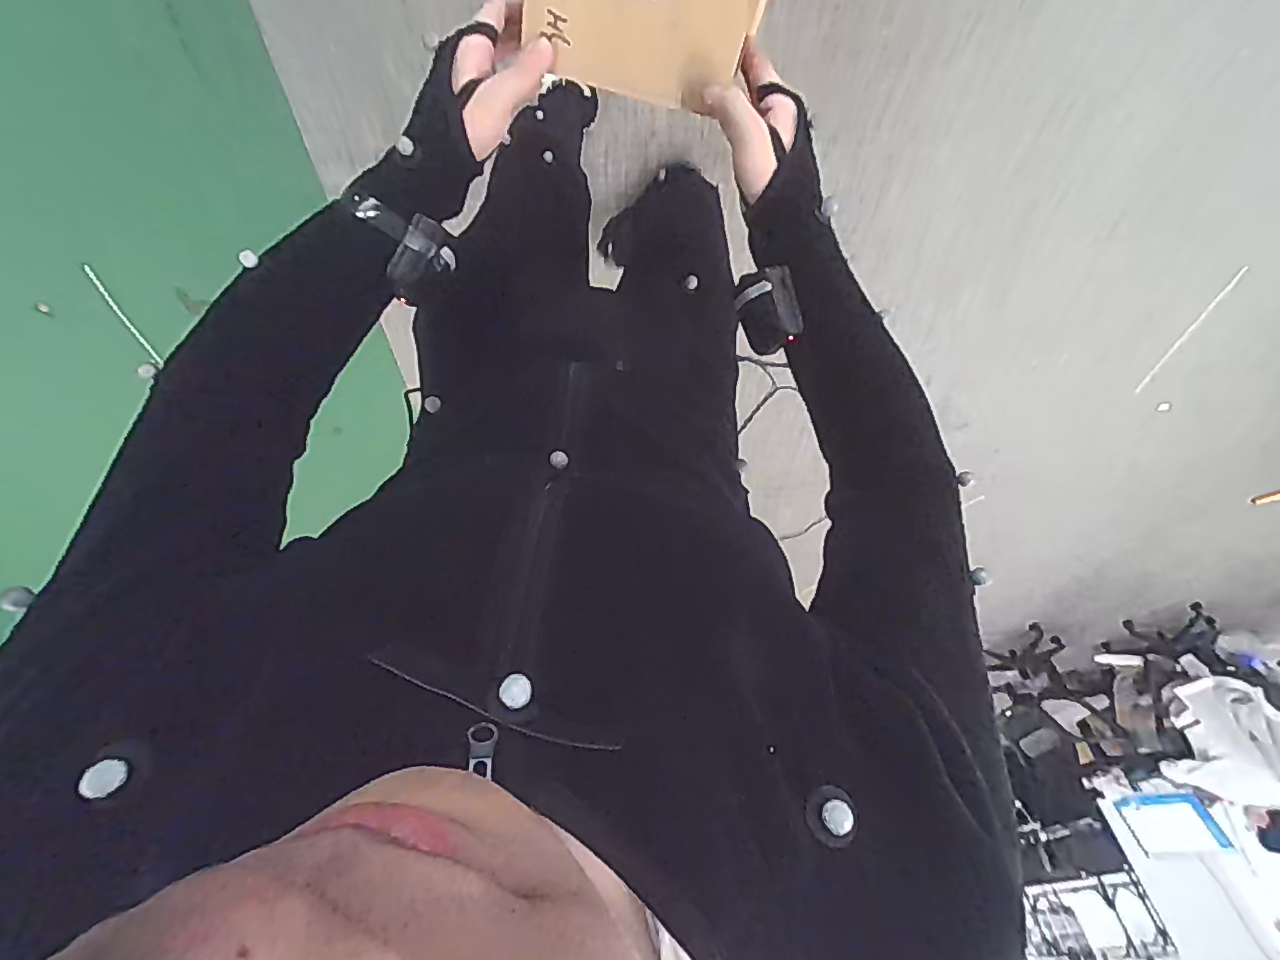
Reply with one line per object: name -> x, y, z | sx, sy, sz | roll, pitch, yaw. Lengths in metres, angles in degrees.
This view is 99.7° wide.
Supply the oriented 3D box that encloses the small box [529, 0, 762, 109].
small box -> 0.012, -0.445, 0.448 | 0.179, 0.176, 0.168 | 9, 137, -8
